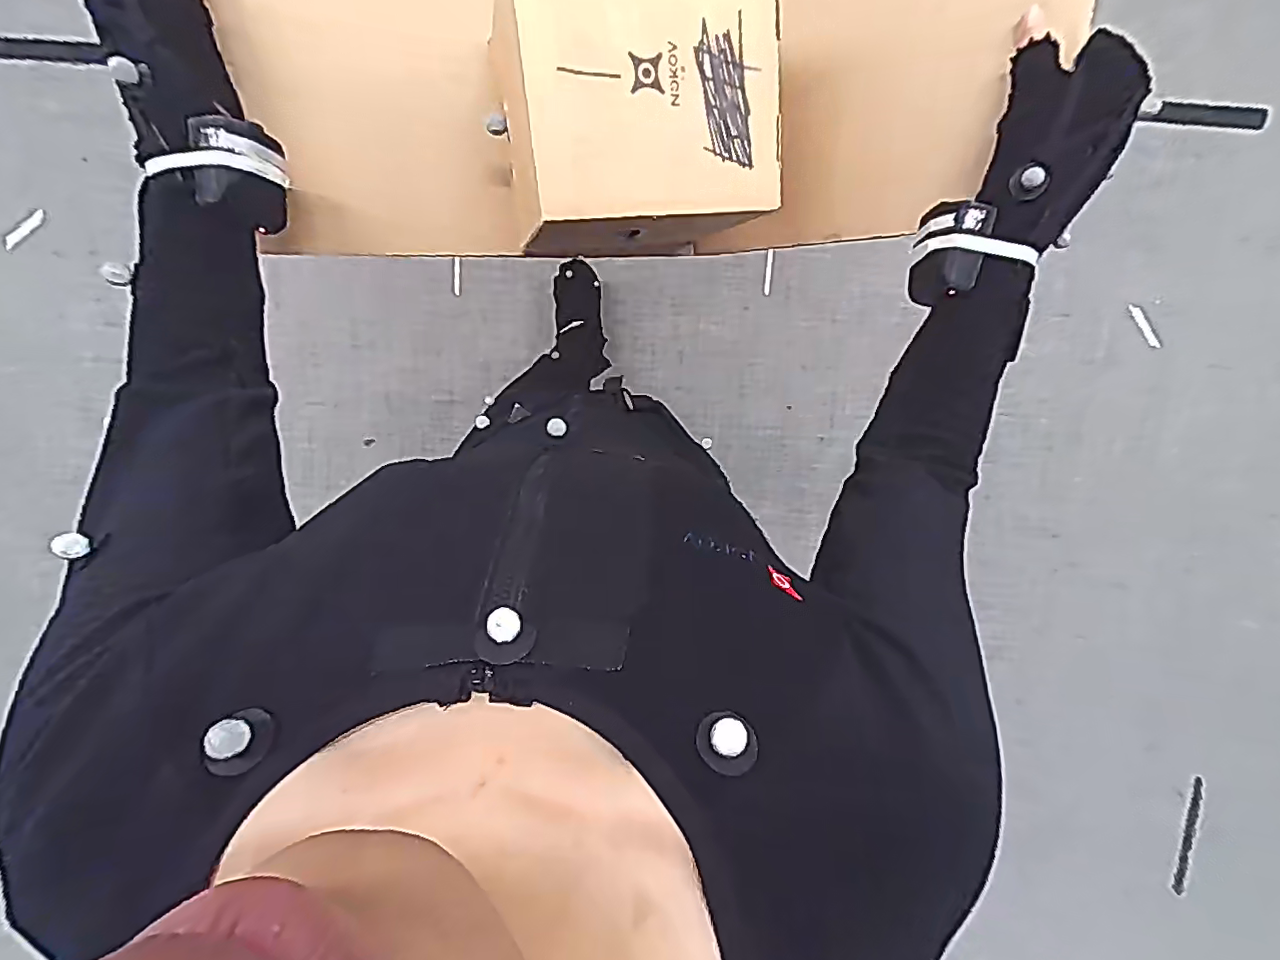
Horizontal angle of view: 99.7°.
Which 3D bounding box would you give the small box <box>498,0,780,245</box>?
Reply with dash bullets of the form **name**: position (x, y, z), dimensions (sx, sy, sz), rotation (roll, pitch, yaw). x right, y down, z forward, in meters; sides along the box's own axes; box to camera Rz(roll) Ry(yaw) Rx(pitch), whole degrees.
- **small box**: position (-0.009, -0.285, 0.424), dimensions (0.179, 0.176, 0.168), rotation (-10, 109, -13)
